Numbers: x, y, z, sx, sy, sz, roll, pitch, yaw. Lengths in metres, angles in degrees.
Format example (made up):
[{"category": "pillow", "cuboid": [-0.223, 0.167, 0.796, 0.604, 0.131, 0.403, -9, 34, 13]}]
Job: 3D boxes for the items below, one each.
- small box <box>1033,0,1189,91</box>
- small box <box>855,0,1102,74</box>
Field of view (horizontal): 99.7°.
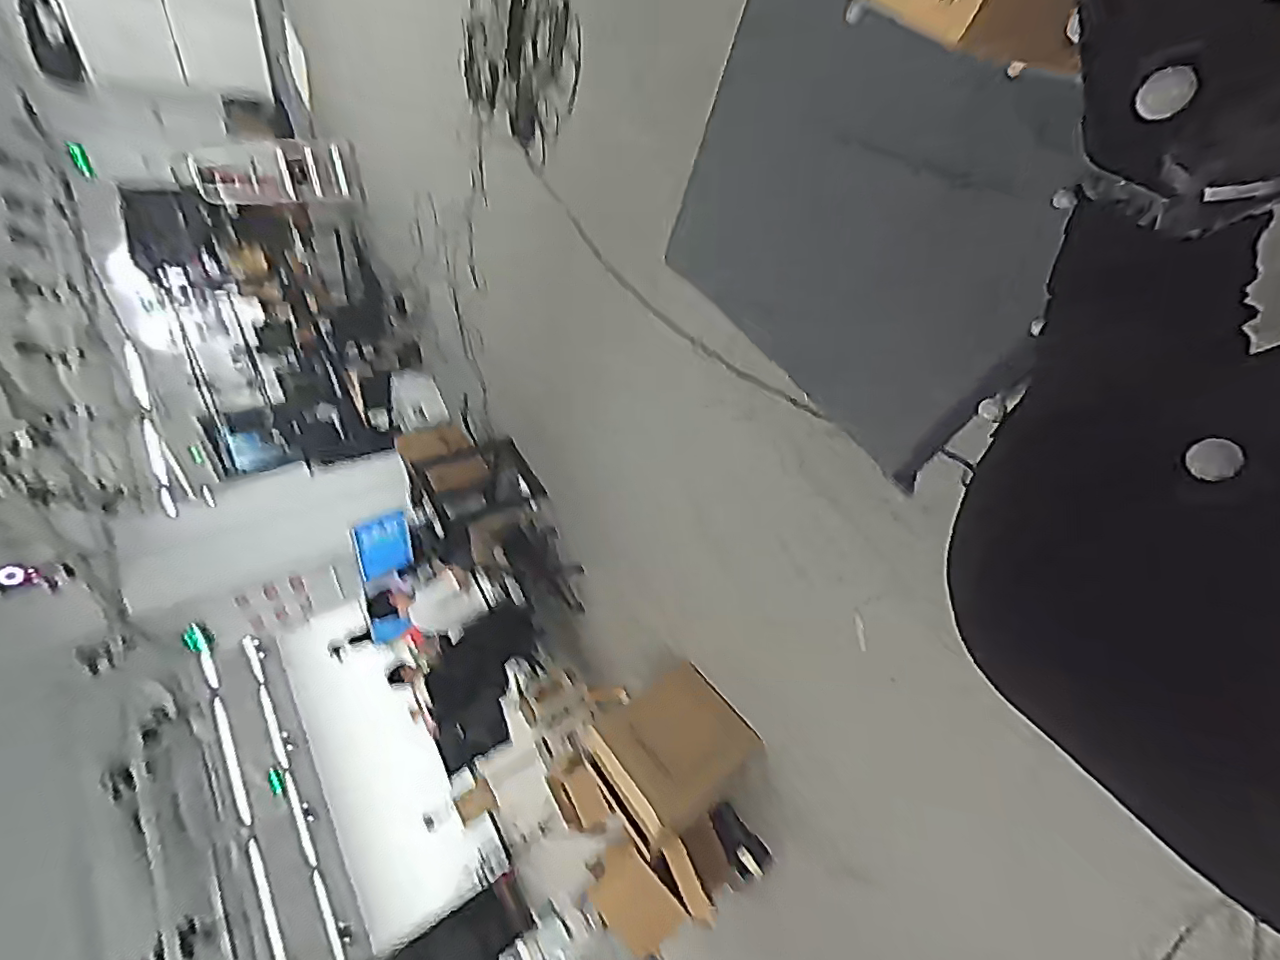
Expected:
[{"category": "small box", "cuboid": [0.369, -0.459, 0.444, 0.168, 0.176, 0.179, 57, 146, 24]}, {"category": "small box", "cuboid": [0.242, -0.409, 0.358, 0.168, 0.176, 0.179, 54, 145, 25]}]
